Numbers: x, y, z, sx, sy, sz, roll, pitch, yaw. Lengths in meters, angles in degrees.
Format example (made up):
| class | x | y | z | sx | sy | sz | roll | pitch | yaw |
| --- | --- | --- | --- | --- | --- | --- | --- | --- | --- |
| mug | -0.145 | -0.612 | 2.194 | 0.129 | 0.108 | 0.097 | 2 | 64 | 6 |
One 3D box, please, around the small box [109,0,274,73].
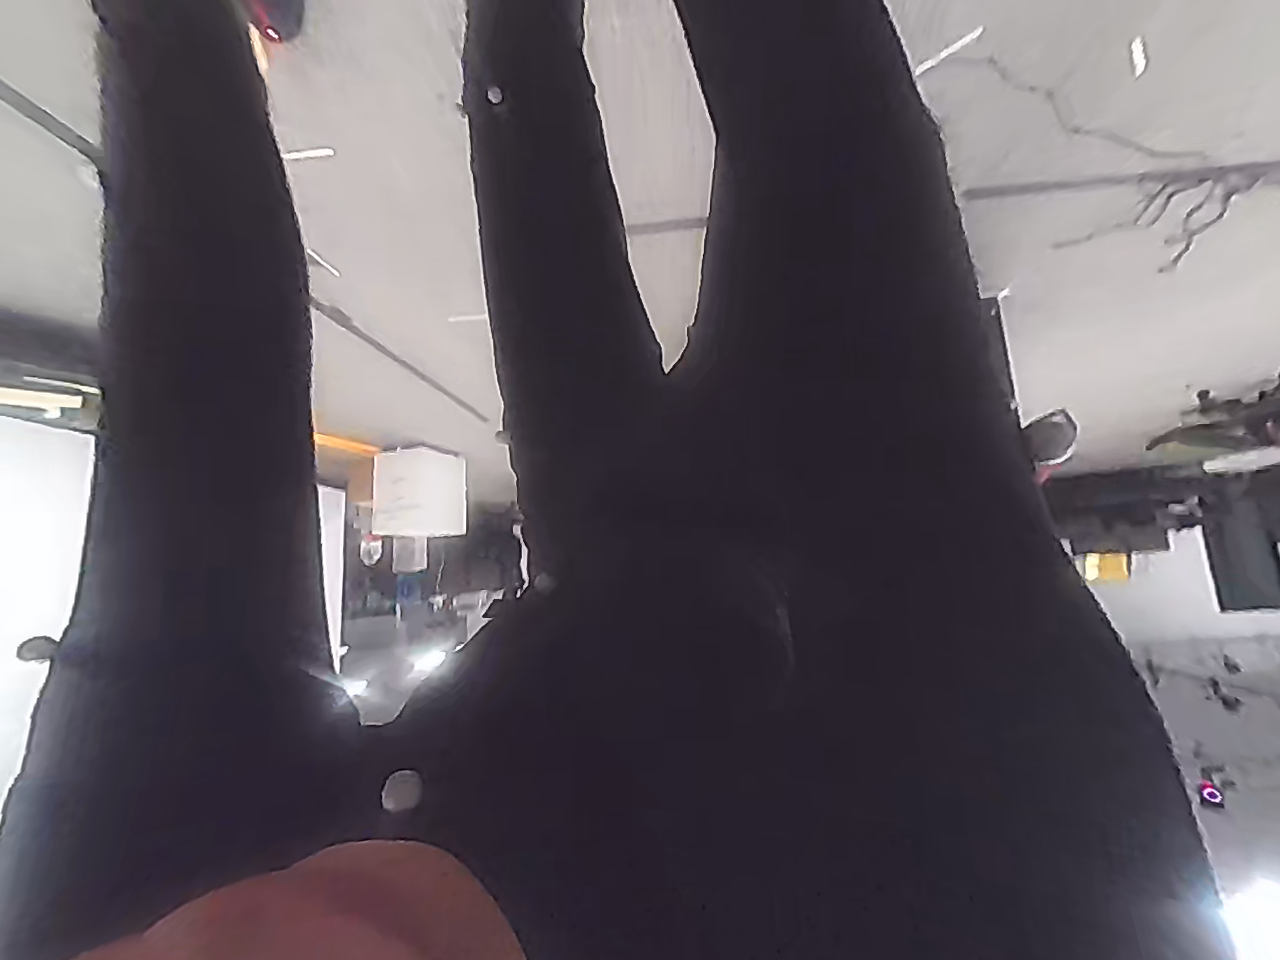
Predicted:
| class | x | y | z | sx | sy | sz | roll | pitch | yaw |
| --- | --- | --- | --- | --- | --- | --- | --- | --- | --- |
| small box | -0.623 | -0.721 | 0.742 | 0.179 | 0.176 | 0.168 | 1 | 169 | -21 |
